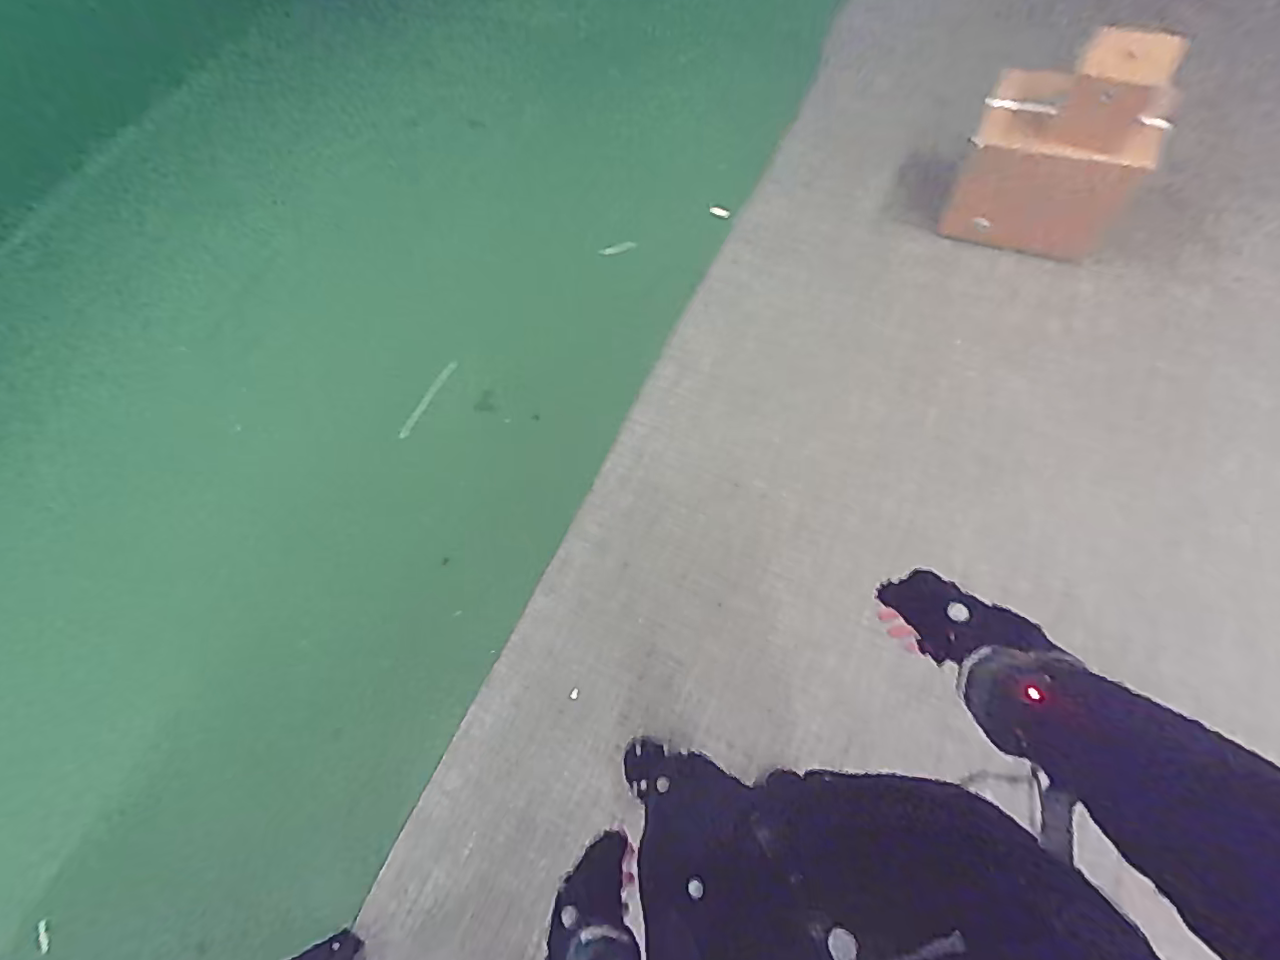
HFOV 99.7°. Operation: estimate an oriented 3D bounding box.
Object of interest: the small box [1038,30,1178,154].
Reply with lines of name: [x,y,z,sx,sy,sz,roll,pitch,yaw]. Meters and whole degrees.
small box: [1.104,-0.920,1.292,0.179,0.176,0.168,28,77,19]
